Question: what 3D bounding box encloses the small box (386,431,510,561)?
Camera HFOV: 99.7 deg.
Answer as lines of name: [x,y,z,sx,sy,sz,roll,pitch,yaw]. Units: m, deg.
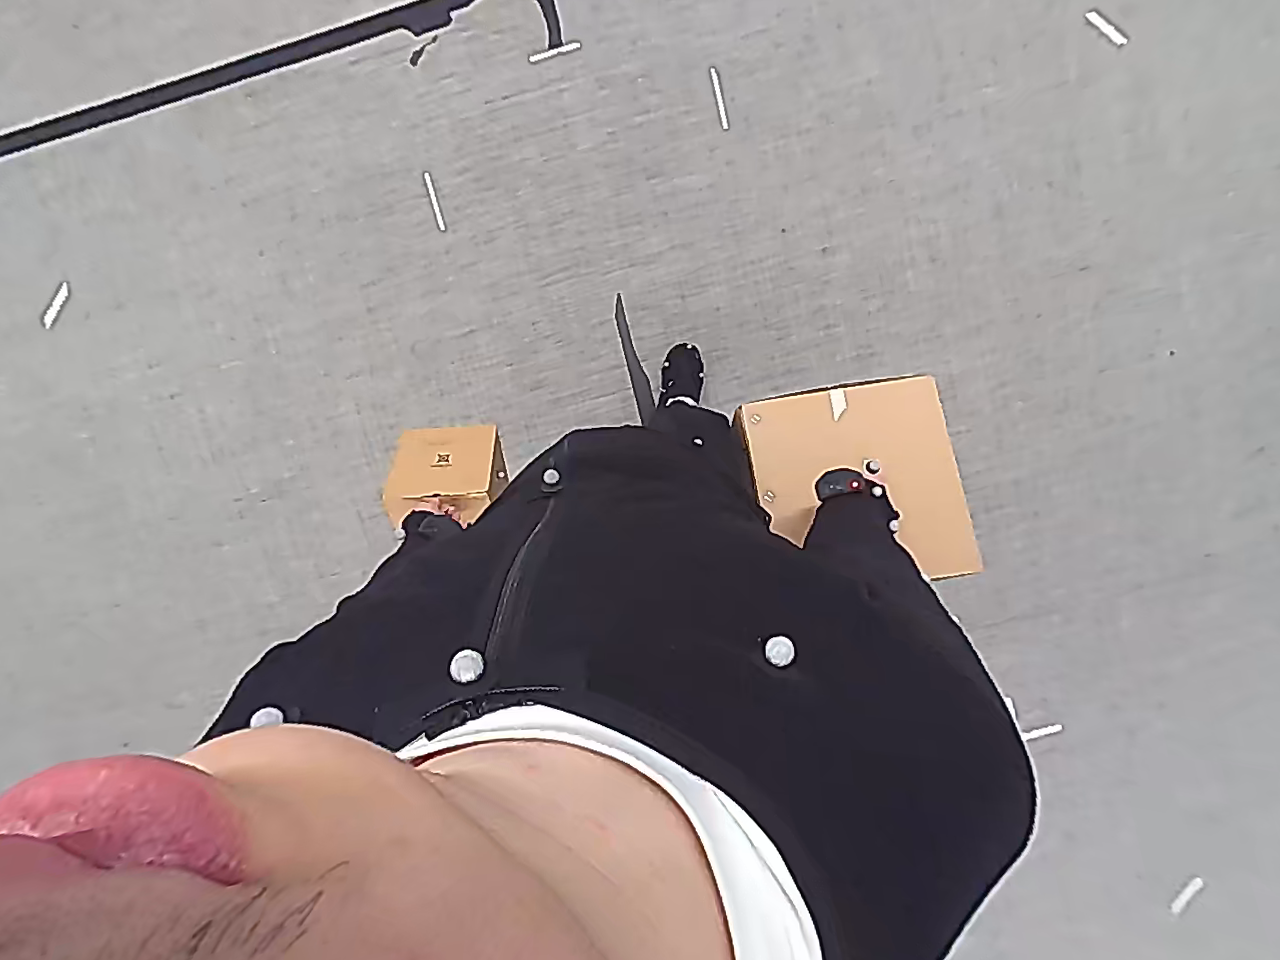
small box: [-0.332,0.033,0.973,0.168,0.179,0.176,-3,133,-6]
